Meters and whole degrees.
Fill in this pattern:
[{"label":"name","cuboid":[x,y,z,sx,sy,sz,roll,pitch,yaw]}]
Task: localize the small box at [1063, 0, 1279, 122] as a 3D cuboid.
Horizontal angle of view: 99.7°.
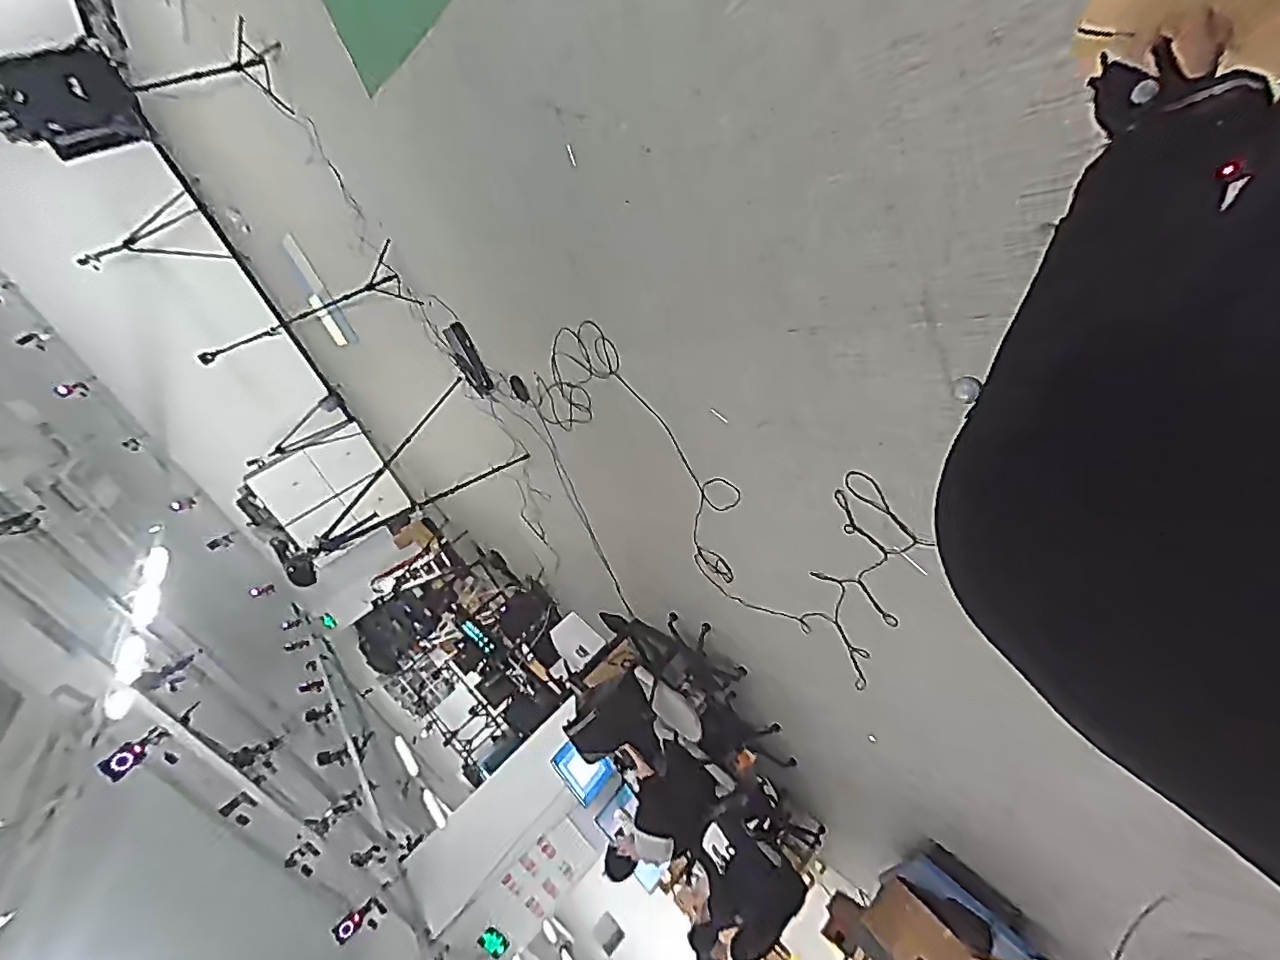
[{"label":"small box","cuboid":[0.530,-0.456,0.489,0.168,0.179,0.176,31,122,22]}]
